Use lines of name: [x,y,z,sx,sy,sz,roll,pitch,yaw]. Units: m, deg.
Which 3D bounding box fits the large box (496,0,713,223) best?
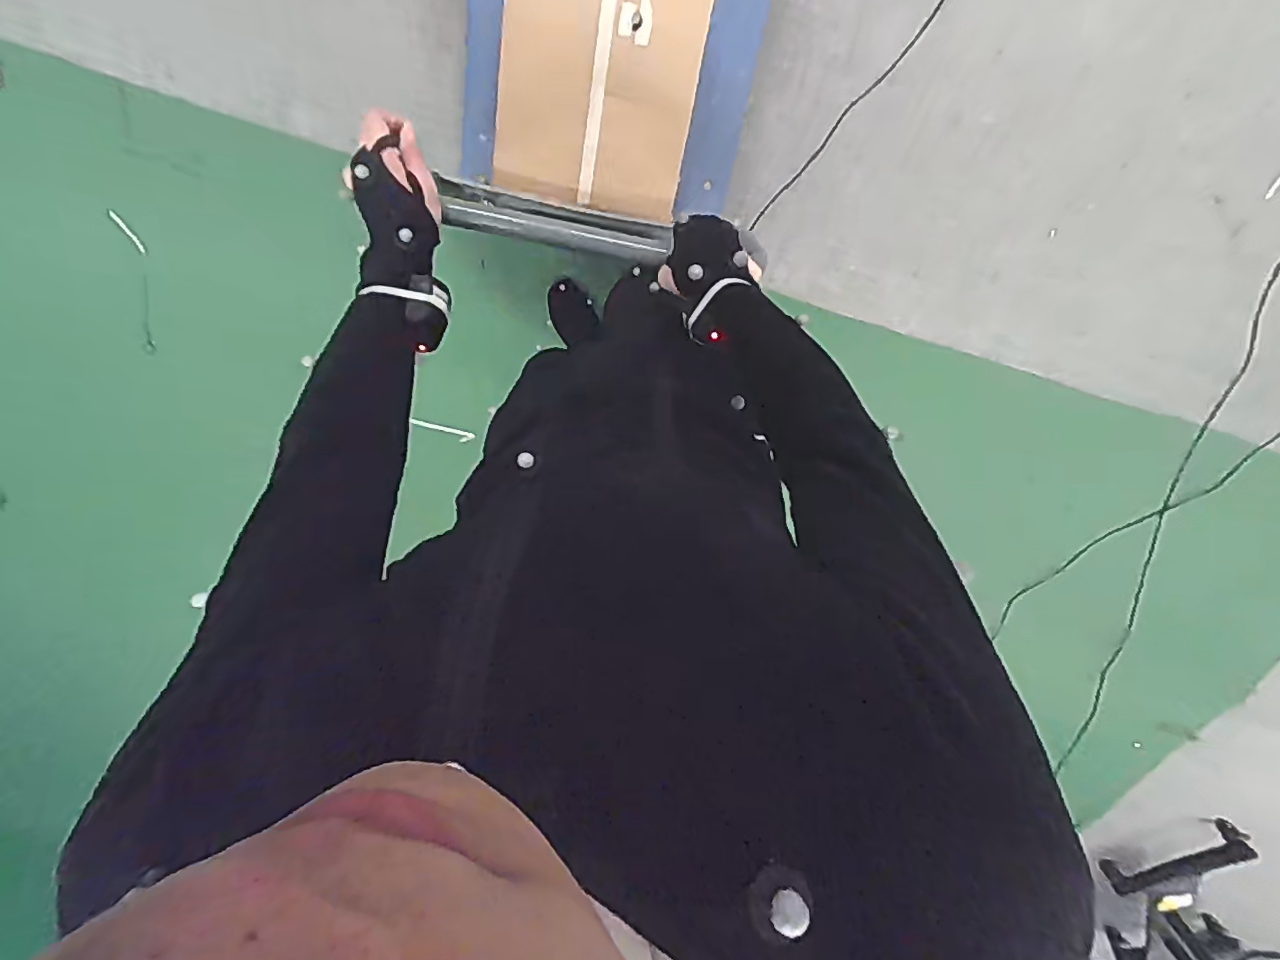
large box: [-0.063,-0.713,0.988,0.320,0.320,0.408,9,115,-6]
